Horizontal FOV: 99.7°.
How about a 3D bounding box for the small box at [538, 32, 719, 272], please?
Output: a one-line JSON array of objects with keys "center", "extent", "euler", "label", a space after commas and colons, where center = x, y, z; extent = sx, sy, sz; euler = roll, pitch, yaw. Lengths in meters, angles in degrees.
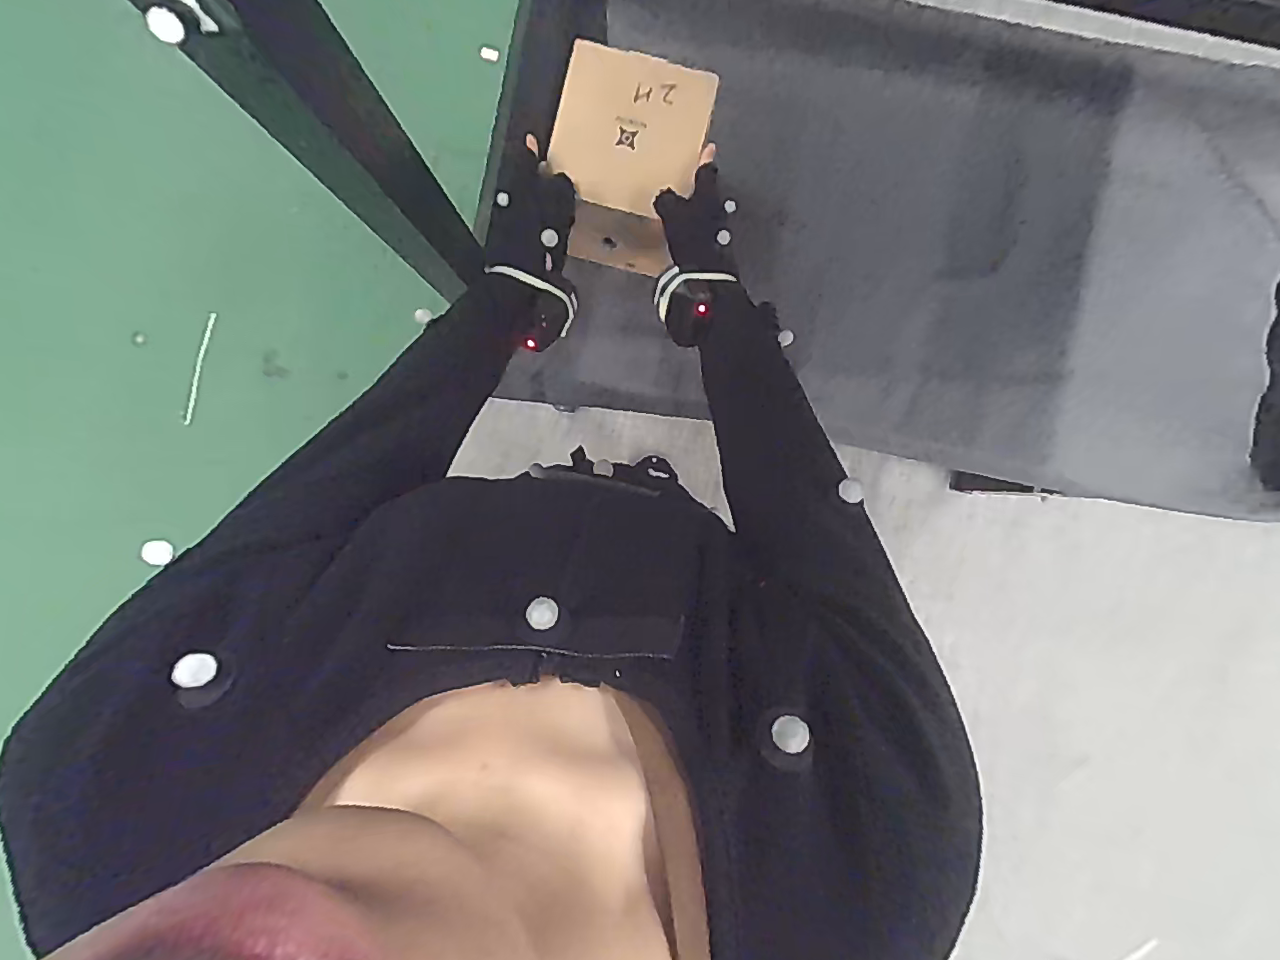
[{"center": [-0.012, -0.382, 0.664], "extent": [0.168, 0.176, 0.179], "euler": [14, 90, -1], "label": "small box"}]
